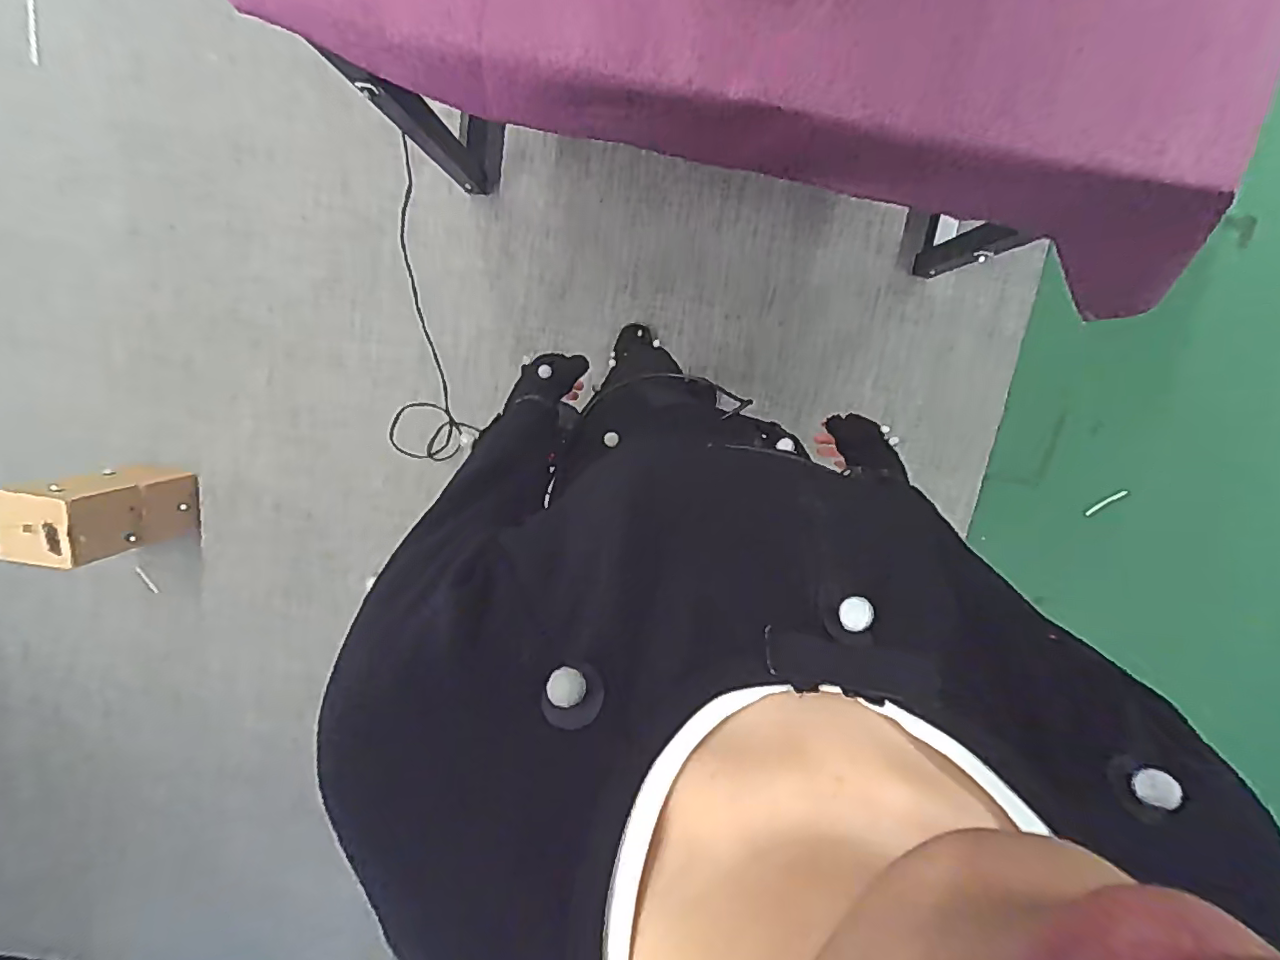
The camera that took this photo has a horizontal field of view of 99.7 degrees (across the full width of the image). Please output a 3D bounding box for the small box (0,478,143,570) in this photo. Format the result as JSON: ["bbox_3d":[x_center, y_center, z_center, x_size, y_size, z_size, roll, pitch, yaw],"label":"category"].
[{"bbox_3d":[-1.332,0.098,1.284,0.179,0.176,0.168,8,102,1],"label":"small box"}]

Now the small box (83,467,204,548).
[{"bbox_3d":[-1.321,0.067,1.445,0.179,0.176,0.168,9,102,-1],"label":"small box"}]
